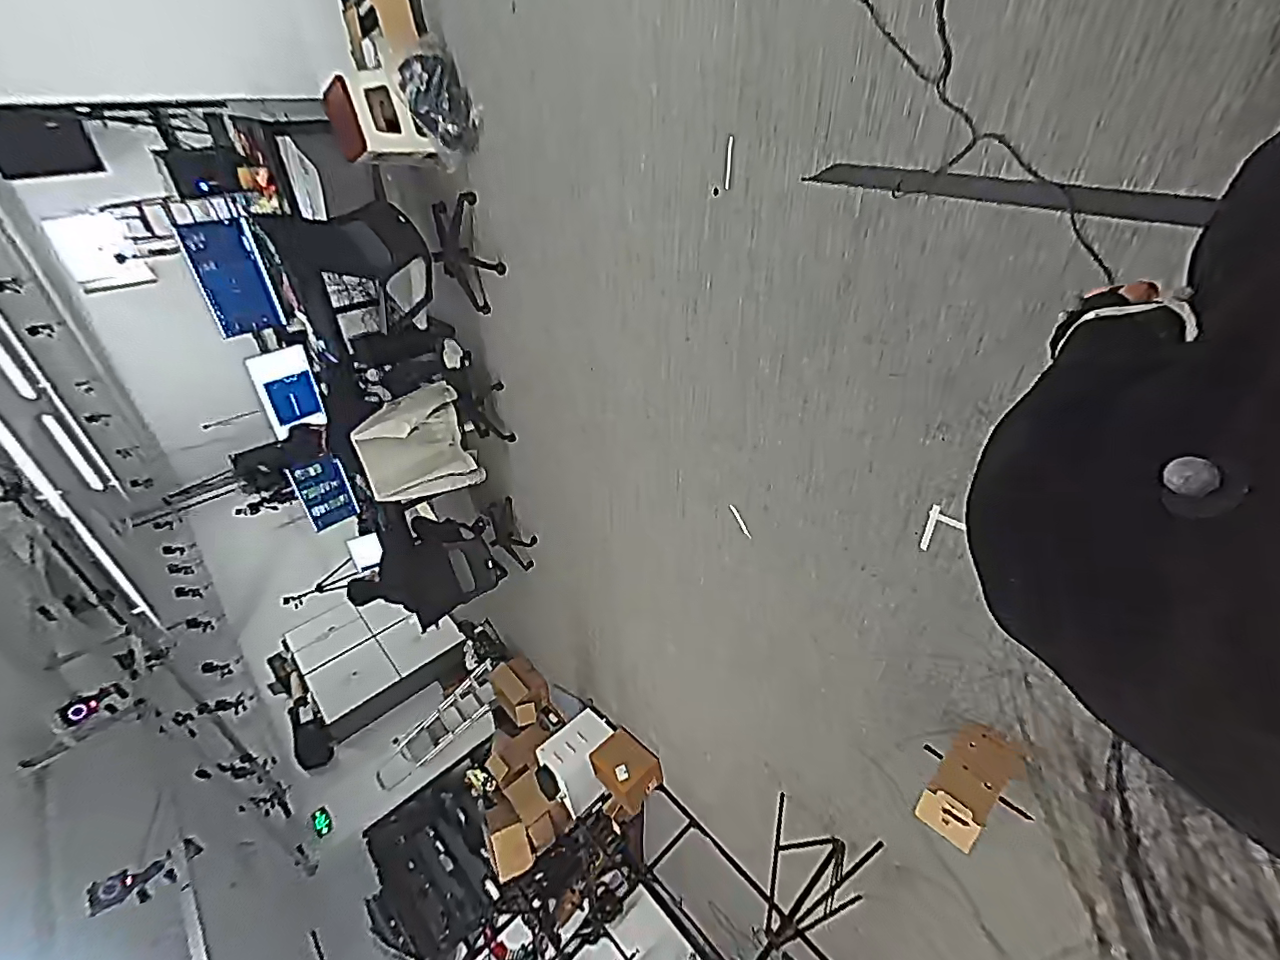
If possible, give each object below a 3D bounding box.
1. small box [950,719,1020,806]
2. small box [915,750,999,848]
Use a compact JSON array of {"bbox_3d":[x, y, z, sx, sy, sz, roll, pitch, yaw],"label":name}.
[{"bbox_3d":[1.136,0.942,1.807,0.168,0.176,0.179,28,136,40],"label":"small box"},{"bbox_3d":[1.012,1.008,1.721,0.168,0.176,0.179,29,136,39],"label":"small box"}]
